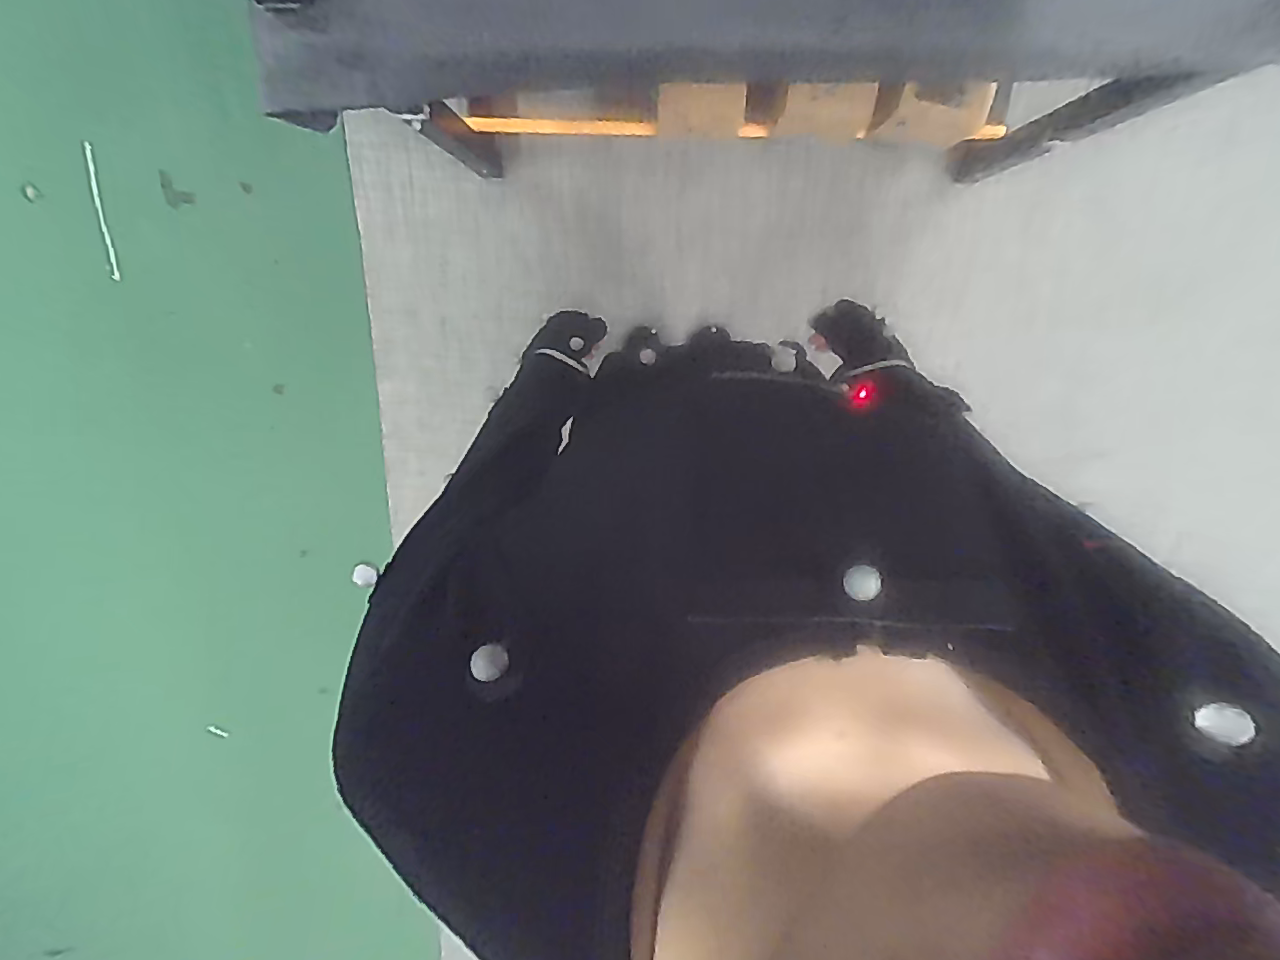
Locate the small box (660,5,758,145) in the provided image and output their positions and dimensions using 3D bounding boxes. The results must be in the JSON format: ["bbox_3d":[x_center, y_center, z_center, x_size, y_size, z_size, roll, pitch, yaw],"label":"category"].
[{"bbox_3d":[0.127,-0.787,1.068,0.168,0.176,0.179,4,110,1],"label":"small box"}]
